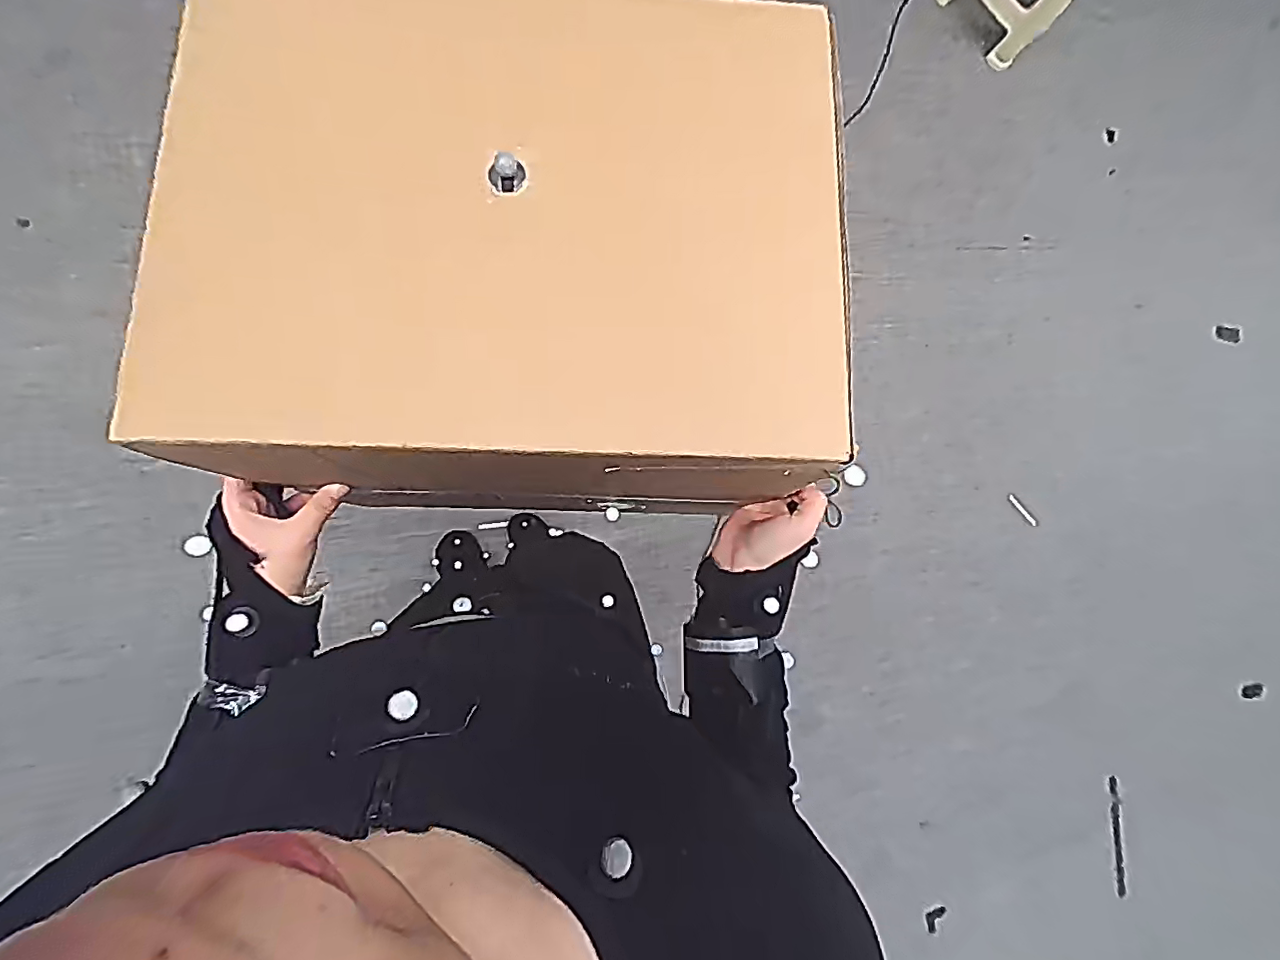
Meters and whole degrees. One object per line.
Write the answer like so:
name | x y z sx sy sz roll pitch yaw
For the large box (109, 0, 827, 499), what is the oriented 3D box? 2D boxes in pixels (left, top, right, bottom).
large box | -0.100 -0.153 0.464 0.408 0.320 0.320 0 83 -2
